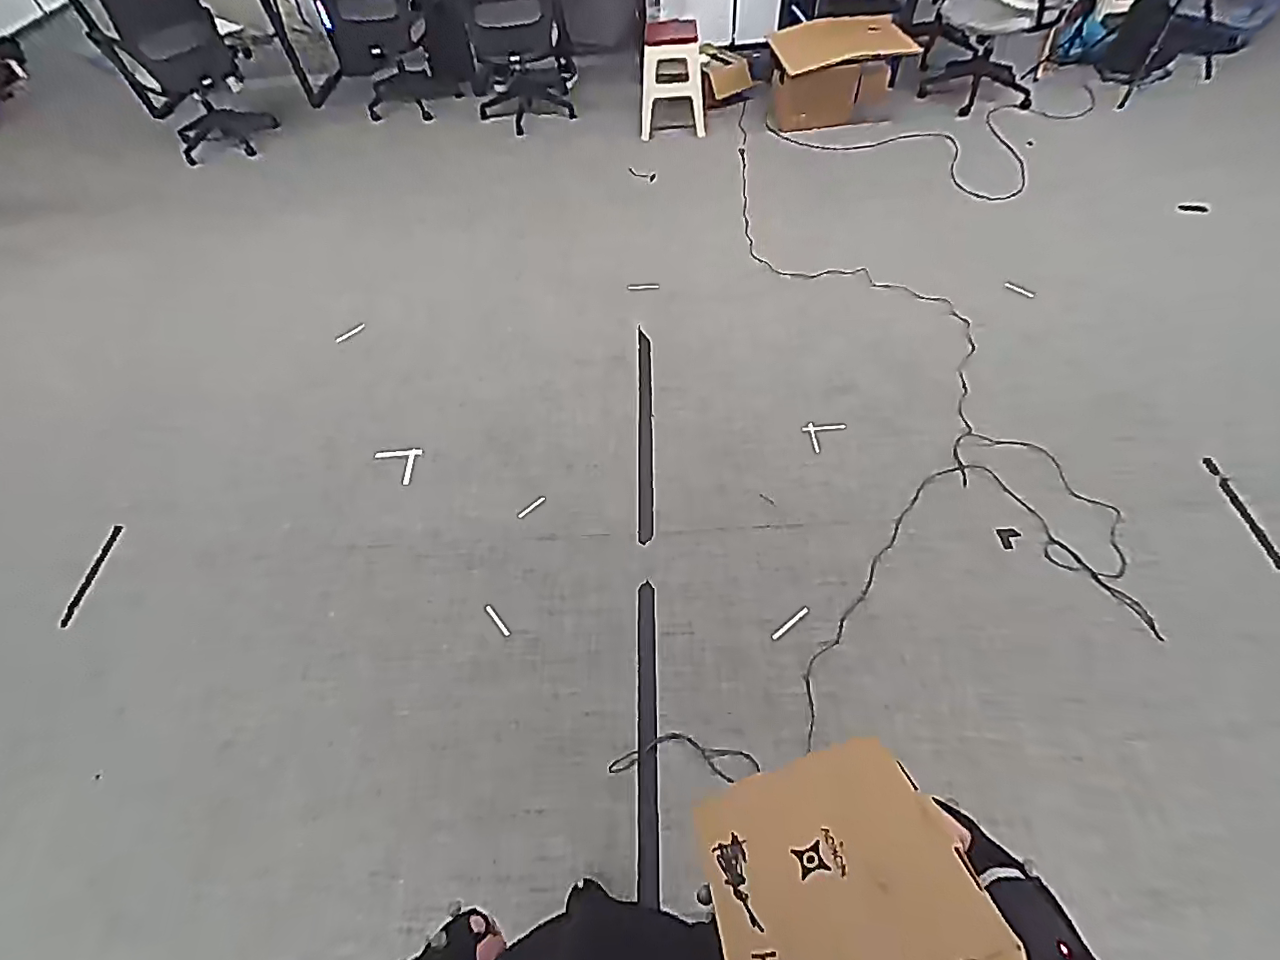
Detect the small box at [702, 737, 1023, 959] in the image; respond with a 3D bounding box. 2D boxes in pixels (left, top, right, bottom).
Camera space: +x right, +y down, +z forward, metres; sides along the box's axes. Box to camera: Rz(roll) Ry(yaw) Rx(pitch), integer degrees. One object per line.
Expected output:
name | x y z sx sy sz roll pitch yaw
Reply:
small box | 0.170 0.352 0.430 0.179 0.176 0.168 -22 19 2
